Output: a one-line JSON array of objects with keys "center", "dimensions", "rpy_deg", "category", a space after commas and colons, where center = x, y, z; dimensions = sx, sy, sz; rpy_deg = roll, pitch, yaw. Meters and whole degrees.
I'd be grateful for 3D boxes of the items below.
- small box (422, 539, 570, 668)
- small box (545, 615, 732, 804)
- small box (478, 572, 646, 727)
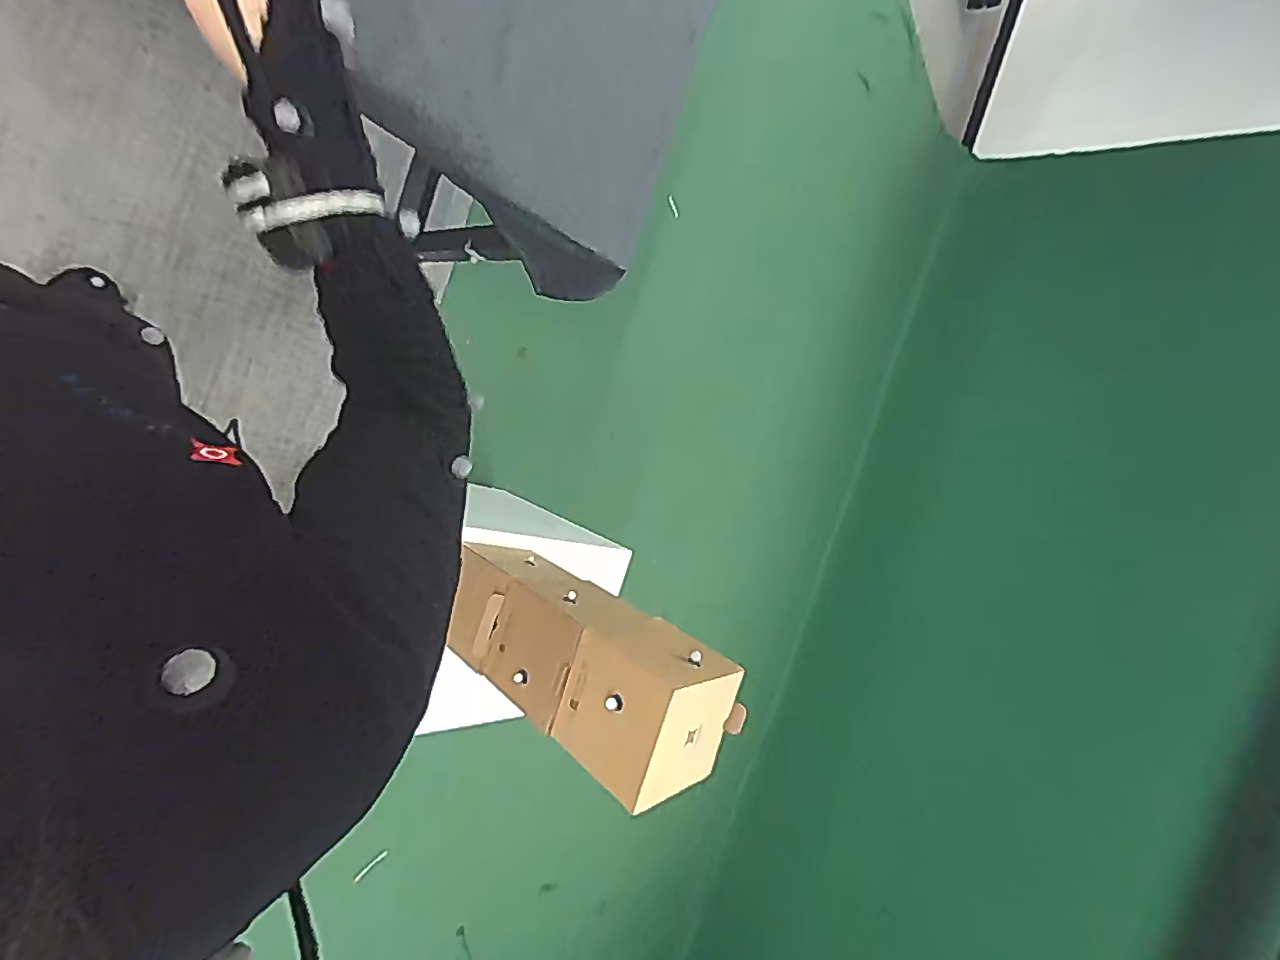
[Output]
[{"center": [-0.250, 0.211, 0.949], "dimensions": [0.179, 0.176, 0.168], "rpy_deg": [18, 92, -52], "category": "small box"}, {"center": [-0.005, 0.301, 0.756], "dimensions": [0.179, 0.176, 0.168], "rpy_deg": [12, 98, -52], "category": "small box"}, {"center": [-0.125, 0.254, 0.854], "dimensions": [0.179, 0.176, 0.168], "rpy_deg": [14, 97, -52], "category": "small box"}]
